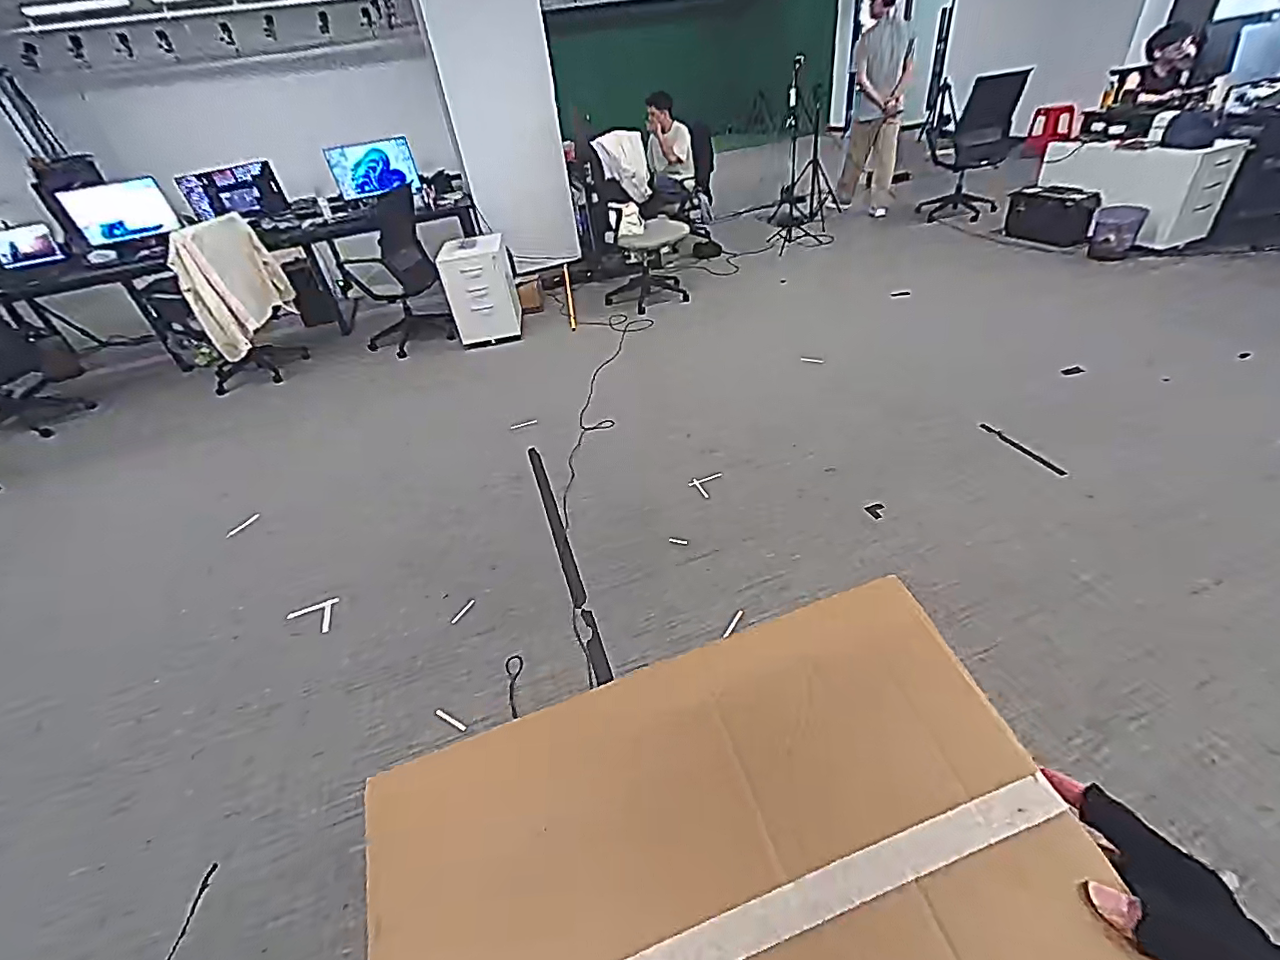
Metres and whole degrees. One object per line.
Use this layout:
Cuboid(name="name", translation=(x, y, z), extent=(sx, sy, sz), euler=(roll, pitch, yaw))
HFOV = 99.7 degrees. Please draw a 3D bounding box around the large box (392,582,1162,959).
Cuboid(name="large box", translation=(0.077, 0.347, 0.428), extent=(0.408, 0.320, 0.320), euler=(-20, 53, -6))
